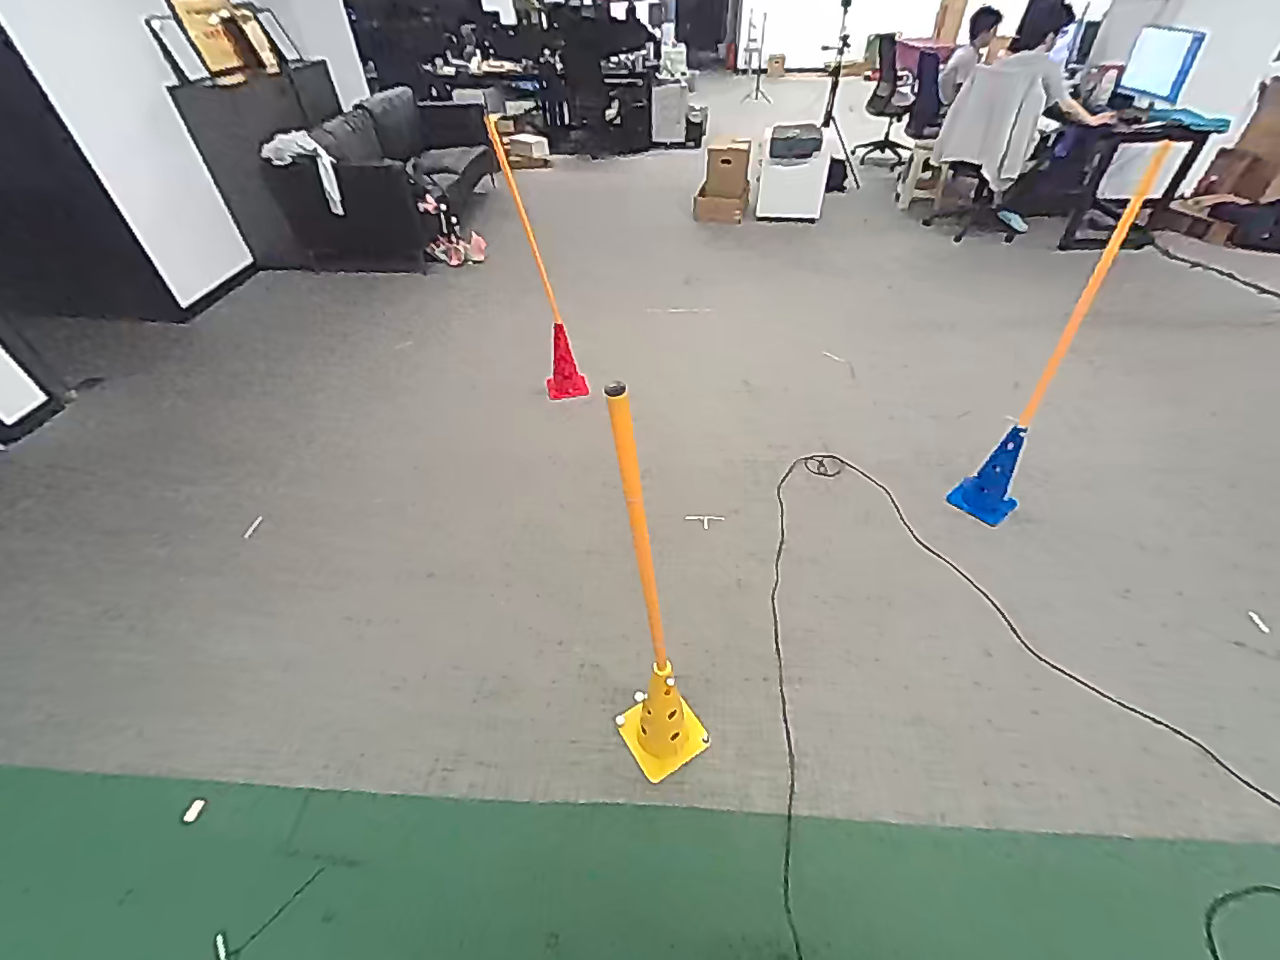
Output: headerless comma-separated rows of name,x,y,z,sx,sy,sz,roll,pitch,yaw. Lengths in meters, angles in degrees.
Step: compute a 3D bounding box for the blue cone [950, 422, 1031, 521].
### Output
blue cone,1.314,-0.052,1.975,0.193,0.380,0.192,-30,49,-30
